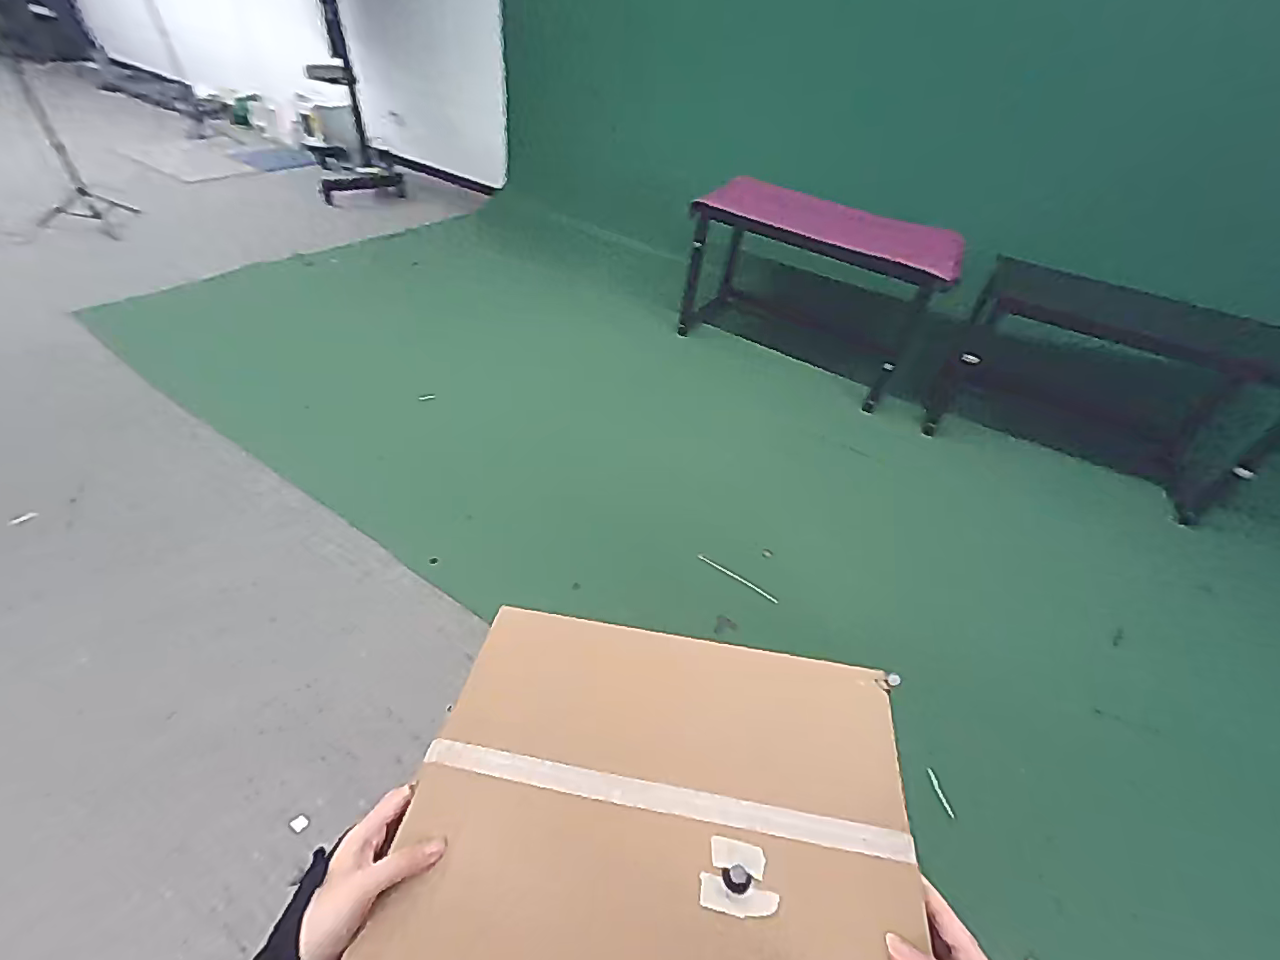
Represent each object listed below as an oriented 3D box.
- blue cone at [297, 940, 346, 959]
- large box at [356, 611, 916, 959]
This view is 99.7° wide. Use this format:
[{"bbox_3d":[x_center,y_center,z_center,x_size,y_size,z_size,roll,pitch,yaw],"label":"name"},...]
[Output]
[{"bbox_3d":[-0.619,0.898,0.911,0.193,0.380,0.192,35,47,26],"label":"blue cone"},{"bbox_3d":[0.010,0.377,0.566,0.408,0.320,0.320,8,42,6],"label":"large box"}]
